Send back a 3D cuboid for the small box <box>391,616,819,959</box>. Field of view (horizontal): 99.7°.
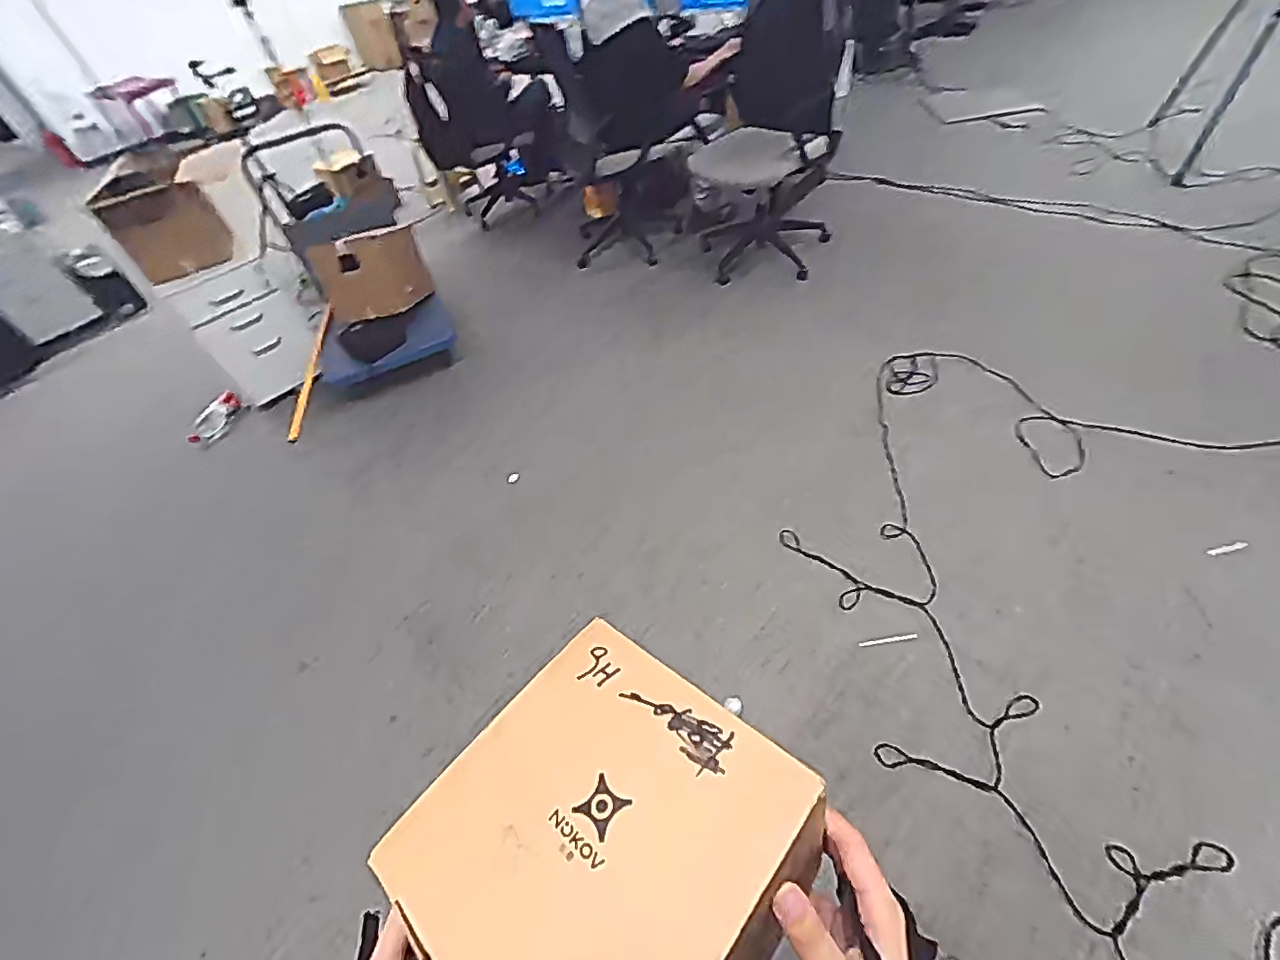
[{"bbox_3d":[-0.004,0.228,0.333,0.168,0.176,0.179,26,57,36],"label":"small box"}]
